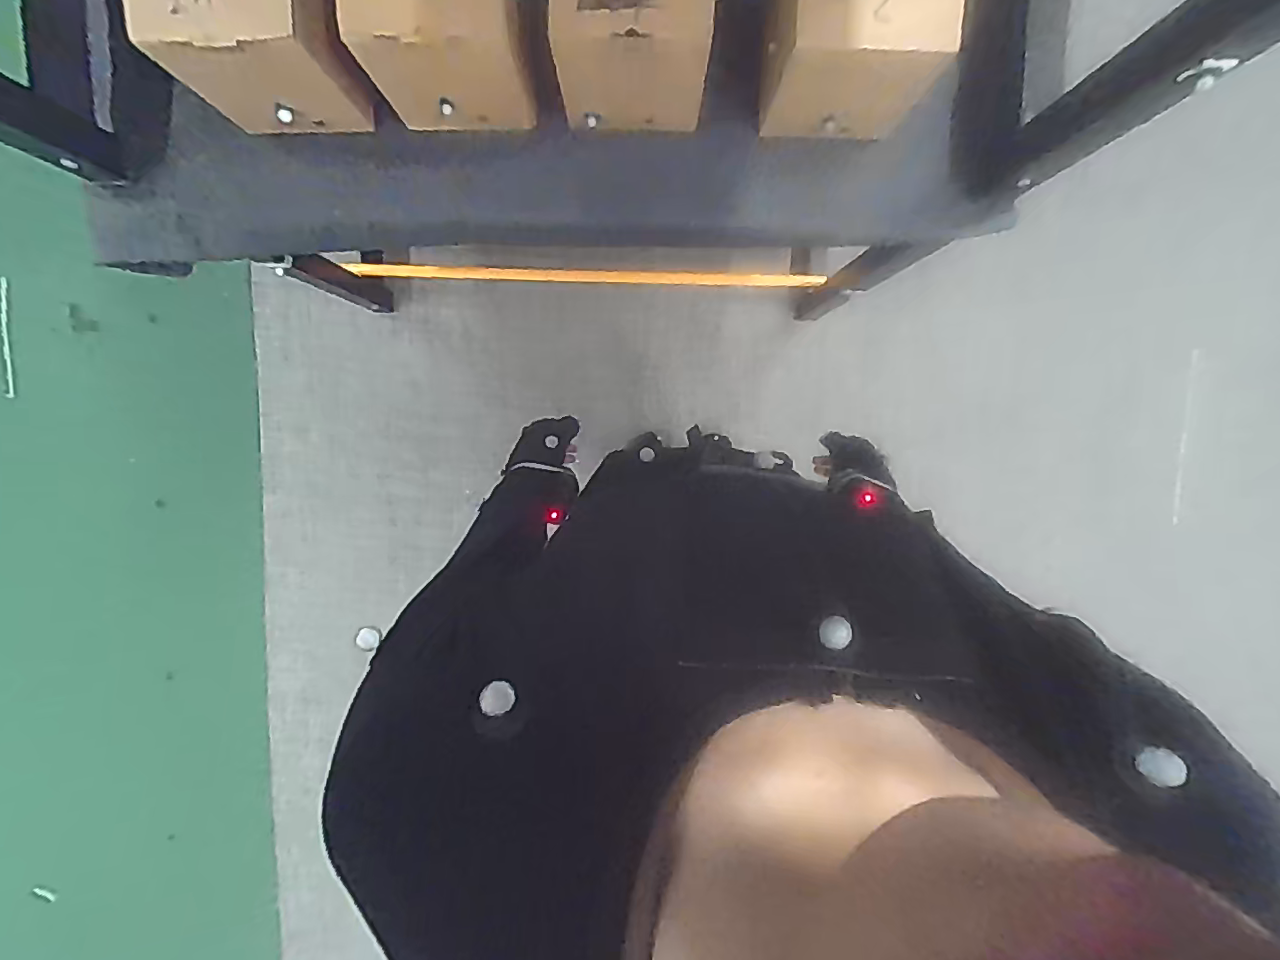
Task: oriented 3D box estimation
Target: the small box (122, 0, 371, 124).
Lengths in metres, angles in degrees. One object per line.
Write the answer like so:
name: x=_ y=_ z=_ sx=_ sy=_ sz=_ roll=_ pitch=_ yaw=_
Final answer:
small box: x=-0.422 y=-0.535 z=0.600 sx=0.168 sy=0.176 sz=0.179 roll=-1 pitch=96 yaw=0
